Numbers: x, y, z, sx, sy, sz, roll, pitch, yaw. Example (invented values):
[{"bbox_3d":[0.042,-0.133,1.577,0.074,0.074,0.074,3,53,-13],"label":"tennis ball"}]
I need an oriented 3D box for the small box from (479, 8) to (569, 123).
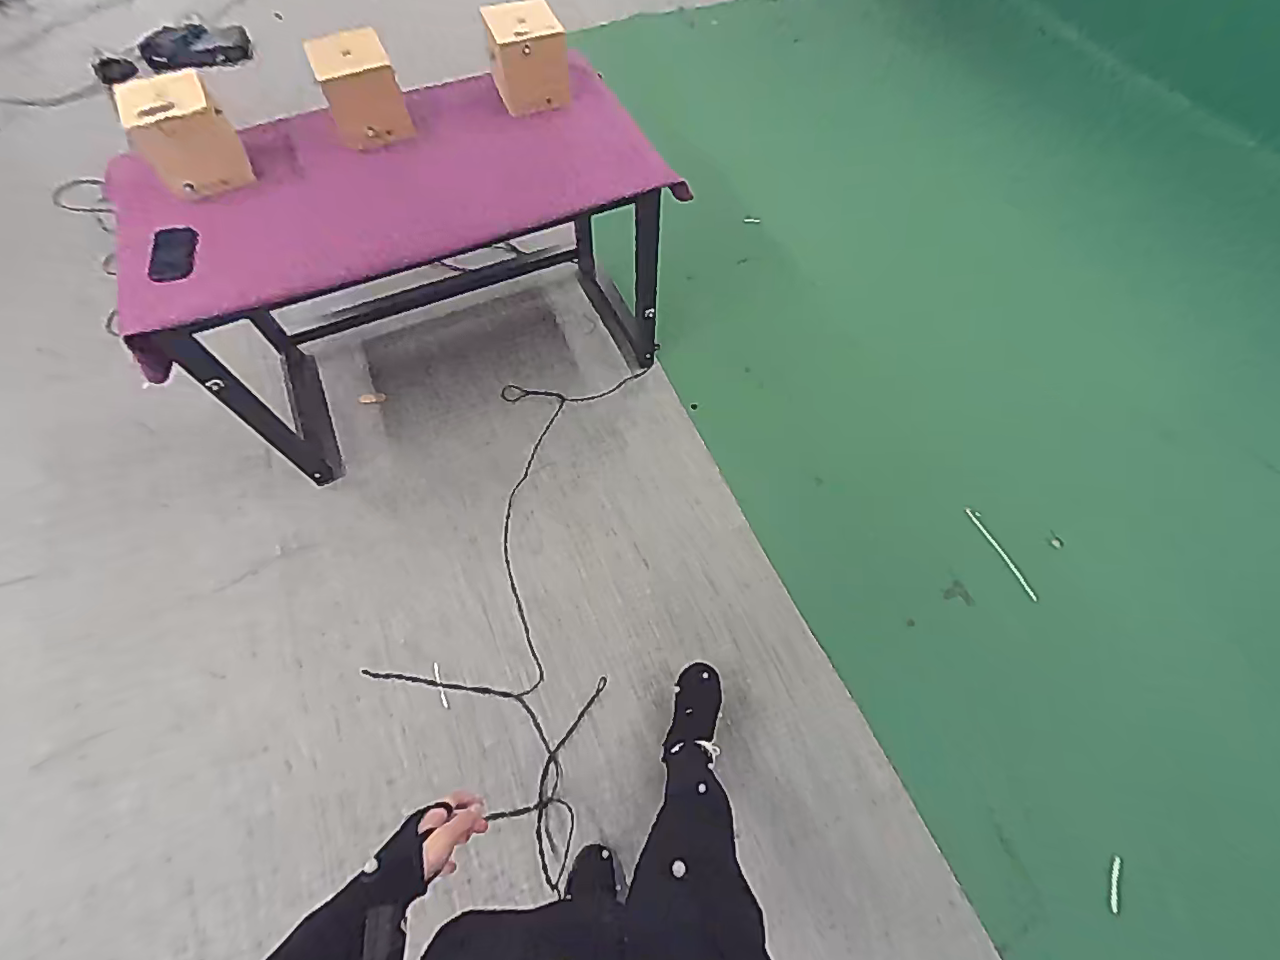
[{"bbox_3d":[-0.292,-1.056,1.381,0.168,0.176,0.179,-20,64,-10],"label":"small box"}]

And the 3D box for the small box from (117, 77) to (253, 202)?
[{"bbox_3d":[-1.013,-0.755,1.216,0.168,0.176,0.179,-26,65,-14],"label":"small box"}]

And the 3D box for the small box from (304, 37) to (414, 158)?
[{"bbox_3d":[-0.674,-0.921,1.308,0.168,0.176,0.179,-23,66,-11],"label":"small box"}]
